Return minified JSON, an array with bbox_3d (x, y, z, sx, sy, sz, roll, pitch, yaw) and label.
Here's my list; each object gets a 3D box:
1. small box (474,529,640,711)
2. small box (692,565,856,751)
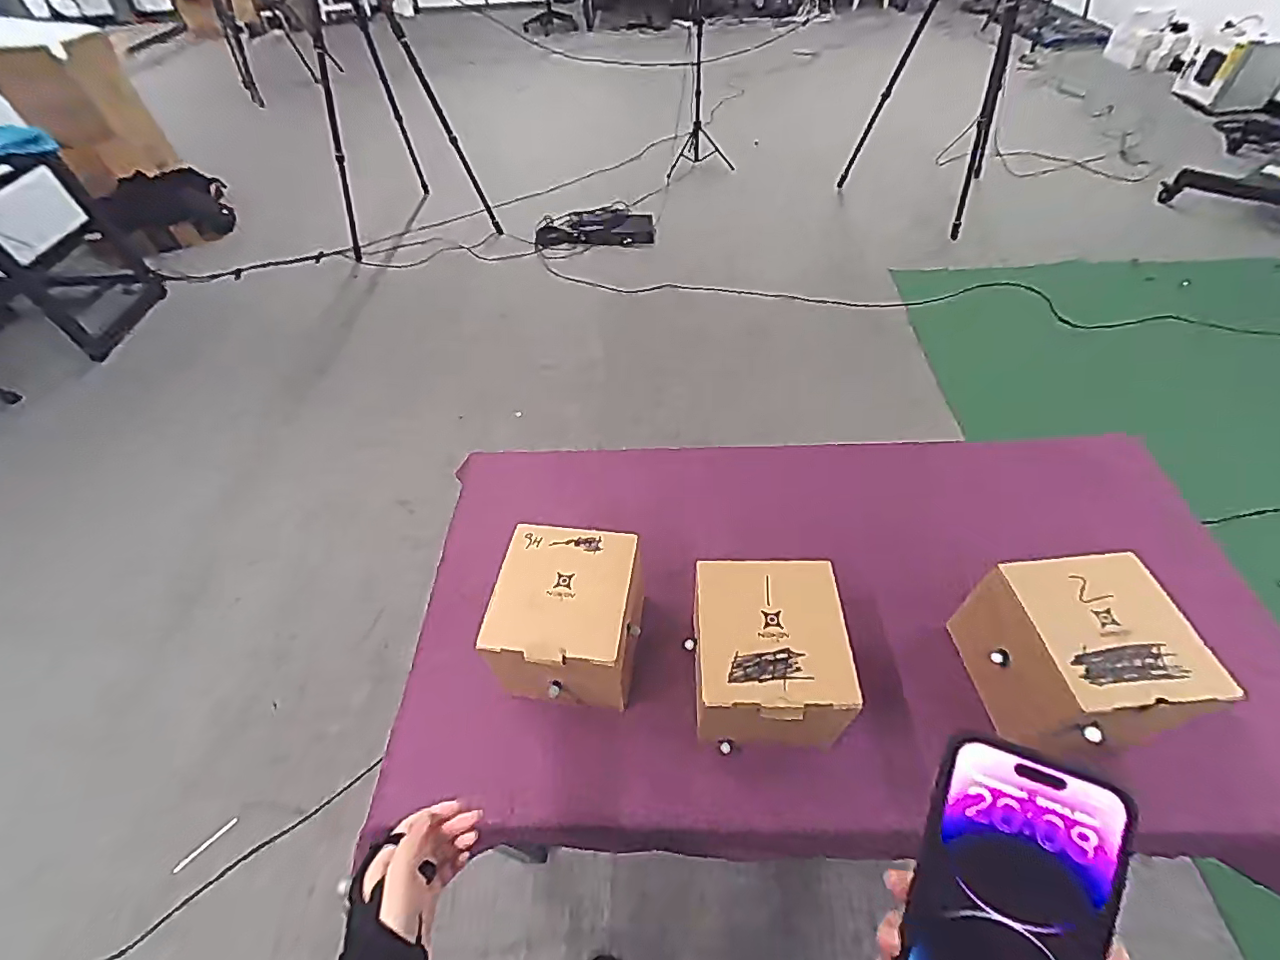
[{"bbox_3d":[-0.093,0.189,0.717,0.168,0.176,0.179,5,51,8],"label":"small box"},{"bbox_3d":[0.150,0.223,0.670,0.168,0.176,0.179,-1,49,4],"label":"small box"}]
